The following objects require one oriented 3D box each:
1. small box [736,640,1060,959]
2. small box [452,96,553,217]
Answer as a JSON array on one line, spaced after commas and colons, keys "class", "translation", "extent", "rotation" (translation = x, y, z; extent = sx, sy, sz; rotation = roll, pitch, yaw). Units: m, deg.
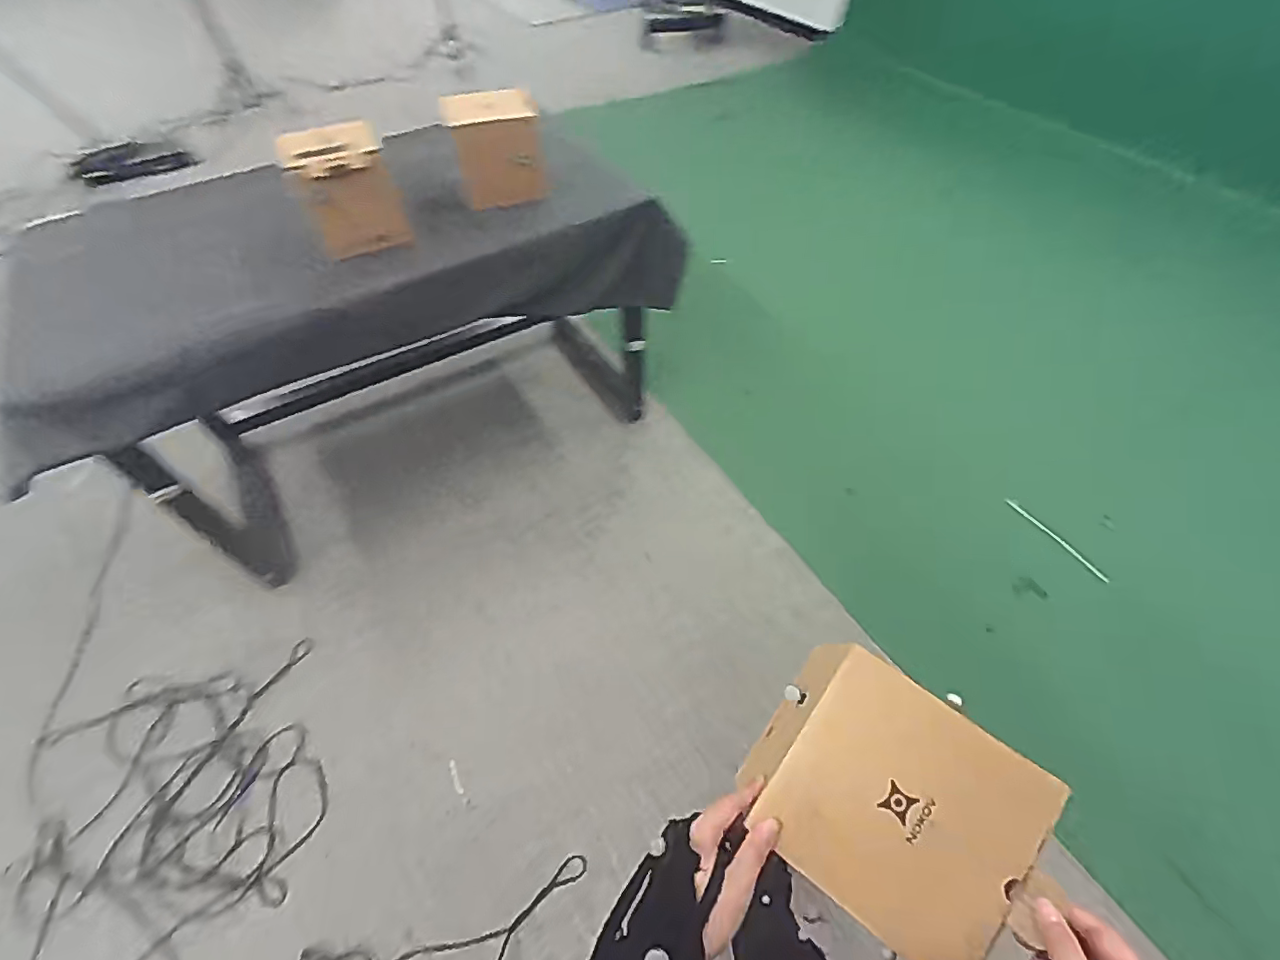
[{"class": "small box", "translation": [0.200, 0.264, 0.476], "extent": [0.179, 0.176, 0.168], "rotation": [32, 78, 14]}, {"class": "small box", "translation": [-0.291, -0.699, 1.173], "extent": [0.179, 0.176, 0.168], "rotation": [-15, 53, -10]}]
